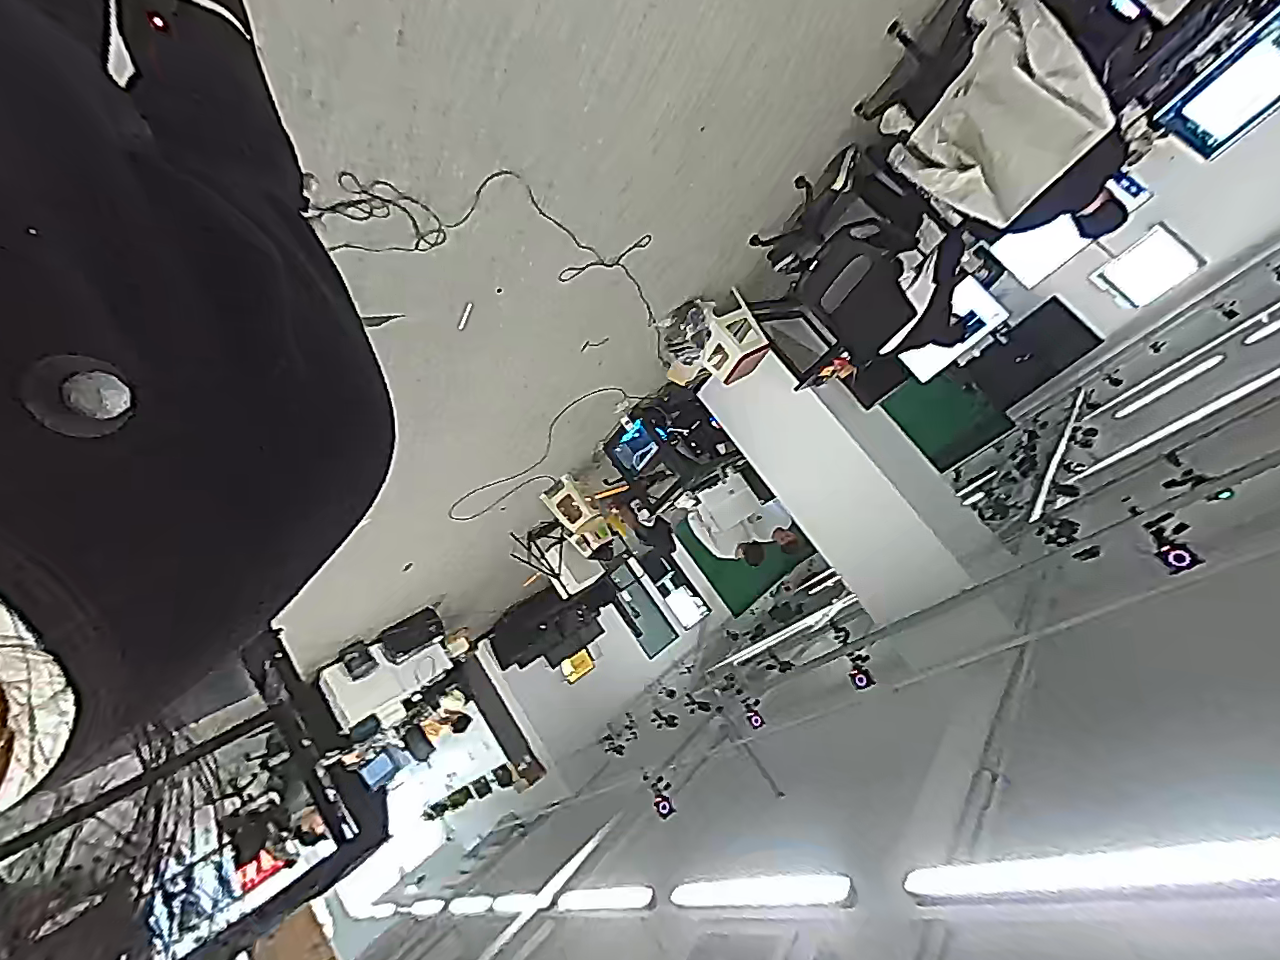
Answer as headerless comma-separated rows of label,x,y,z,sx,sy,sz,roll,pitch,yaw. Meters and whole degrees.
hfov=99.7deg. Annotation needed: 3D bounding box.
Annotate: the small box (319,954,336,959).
small box,-0.891,1.447,1.477,0.168,0.176,0.179,-25,164,-46
